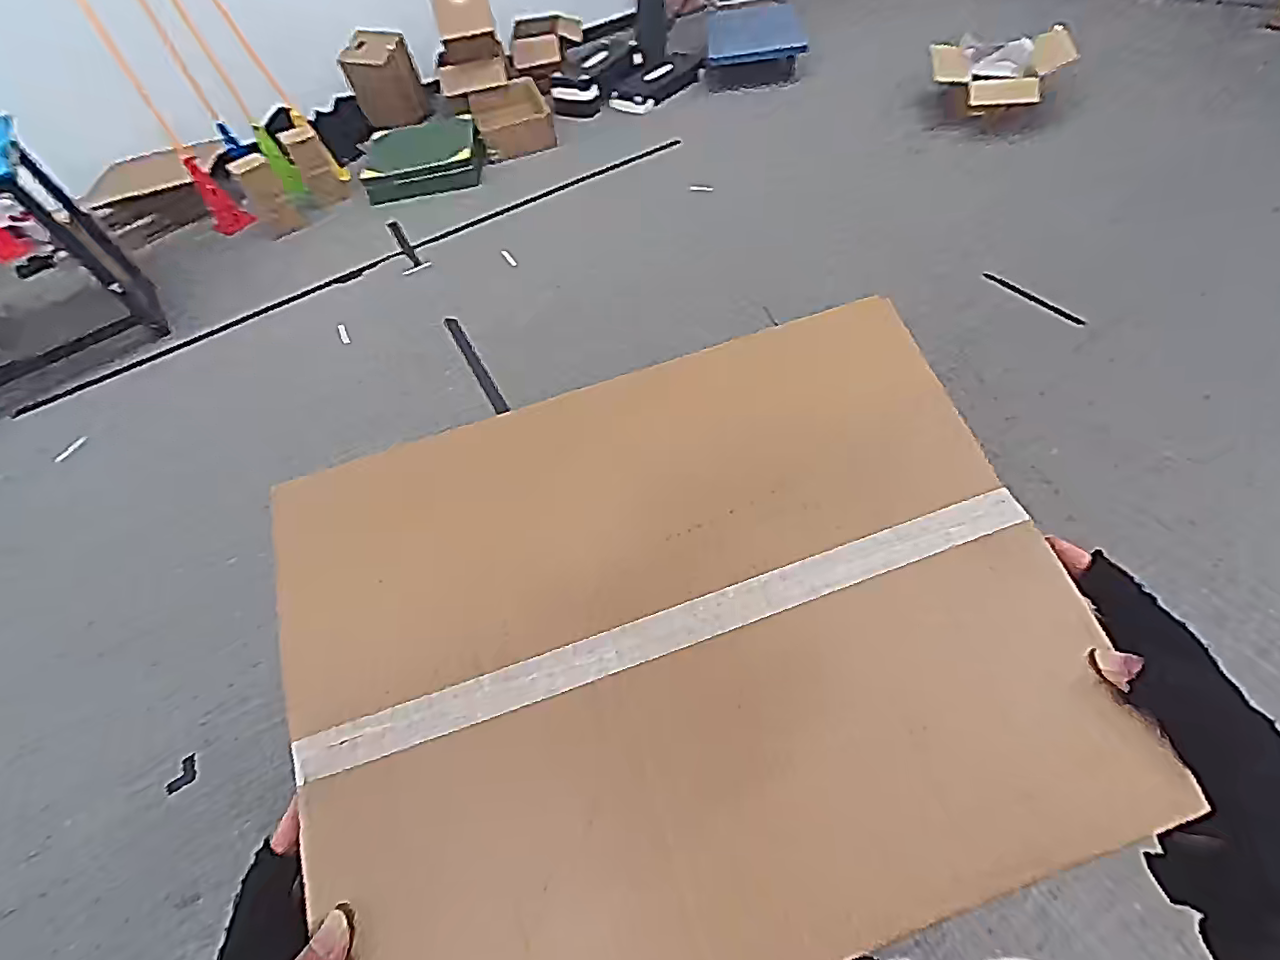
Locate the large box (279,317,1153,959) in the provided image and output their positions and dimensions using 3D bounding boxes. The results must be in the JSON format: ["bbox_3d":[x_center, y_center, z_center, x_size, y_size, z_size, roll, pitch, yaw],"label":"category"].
[{"bbox_3d":[0.023,0.141,0.435,0.408,0.320,0.320,-20,69,-4],"label":"large box"}]
